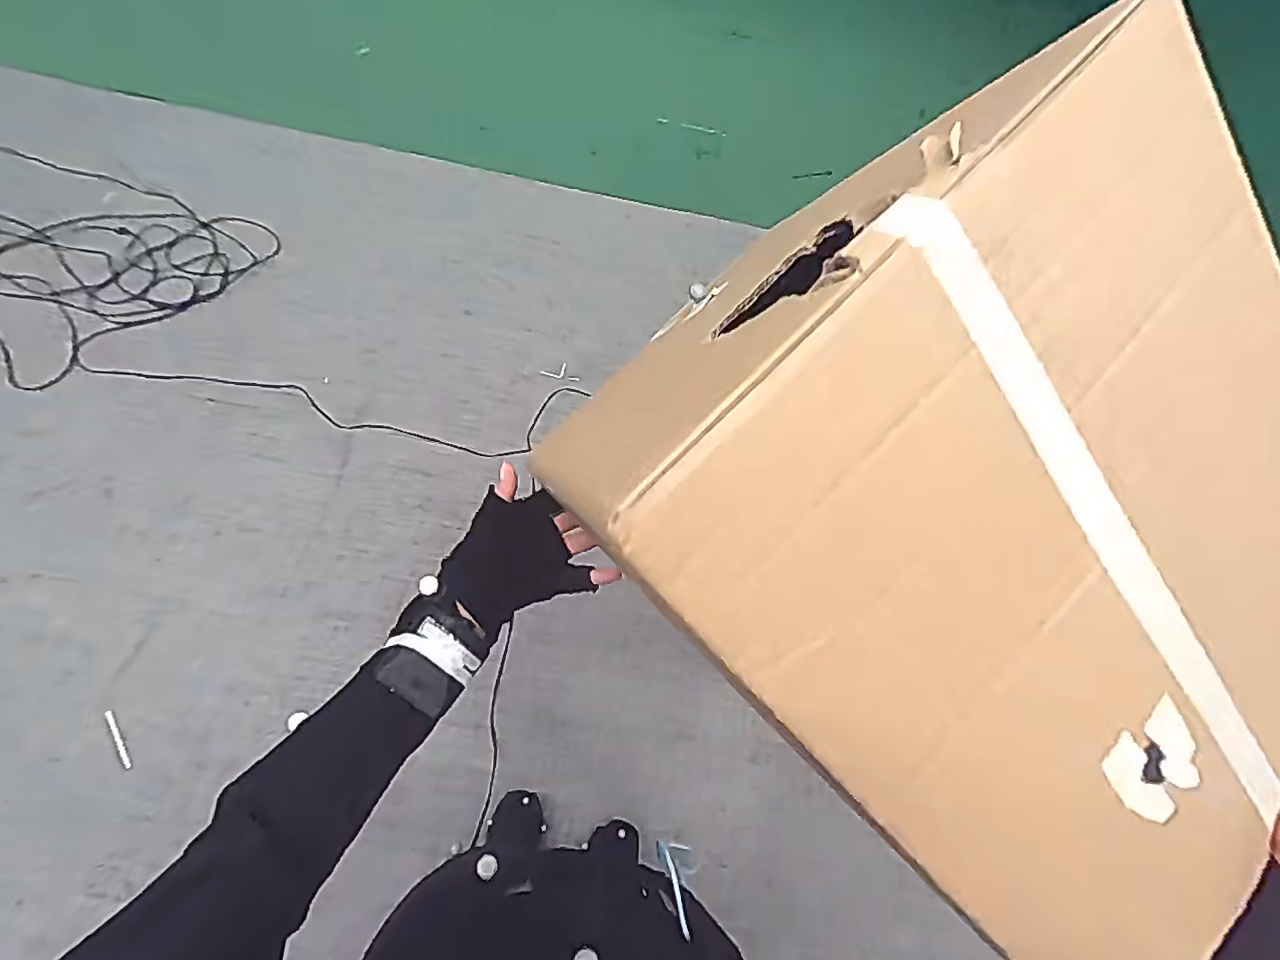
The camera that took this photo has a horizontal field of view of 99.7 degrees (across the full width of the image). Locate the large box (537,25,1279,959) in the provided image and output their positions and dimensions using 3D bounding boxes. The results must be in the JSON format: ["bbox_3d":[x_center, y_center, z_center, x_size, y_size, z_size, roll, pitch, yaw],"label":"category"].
[{"bbox_3d":[0.186,0.033,0.400,0.320,0.320,0.408,-44,107,-8],"label":"large box"}]
